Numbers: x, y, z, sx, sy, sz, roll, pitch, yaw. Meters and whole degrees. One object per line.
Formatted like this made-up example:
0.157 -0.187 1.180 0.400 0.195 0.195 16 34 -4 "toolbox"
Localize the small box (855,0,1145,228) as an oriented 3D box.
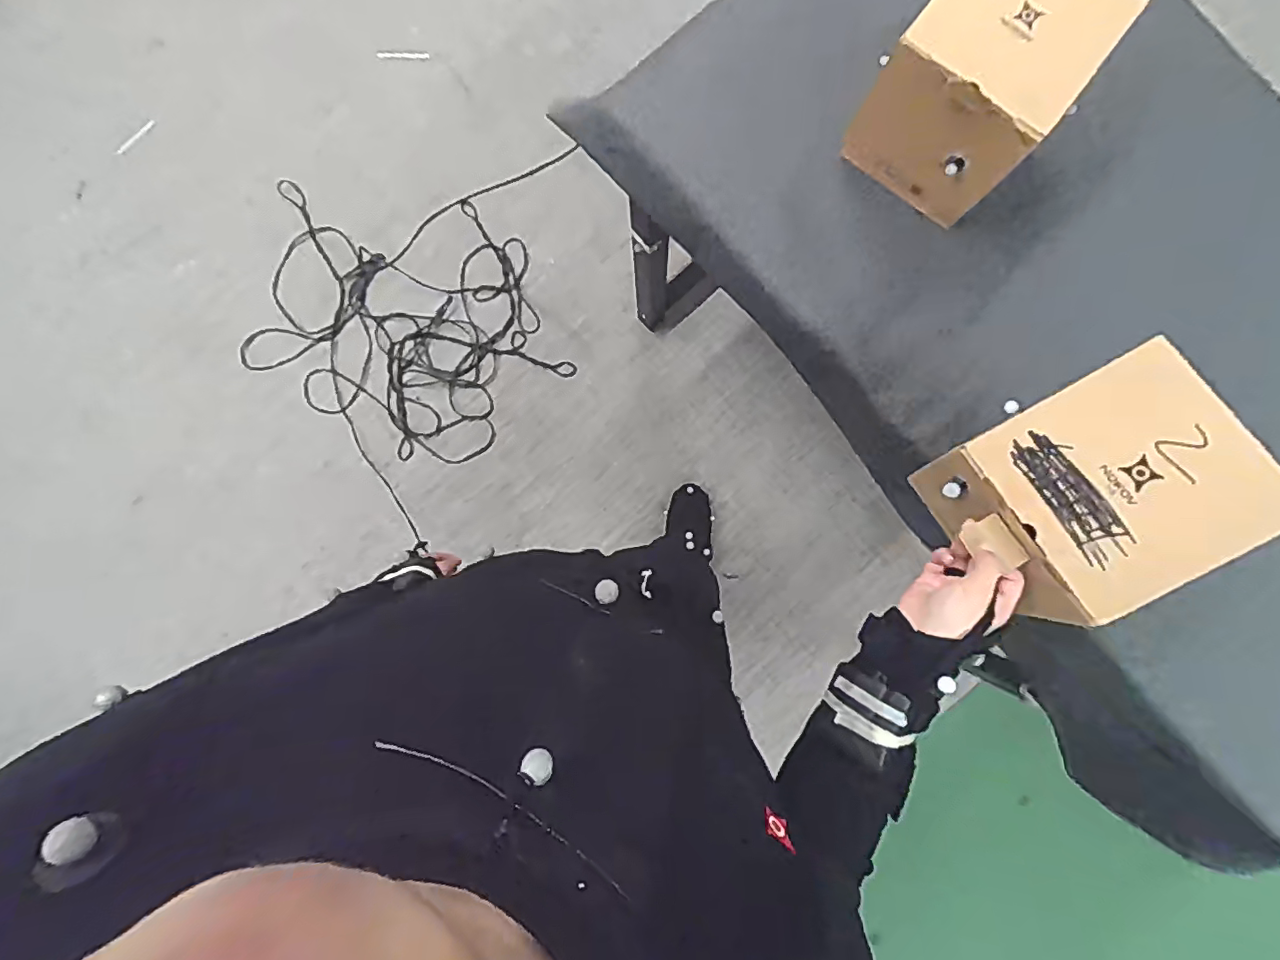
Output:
0.365 -0.420 0.591 0.168 0.176 0.179 37 87 2 "small box"
